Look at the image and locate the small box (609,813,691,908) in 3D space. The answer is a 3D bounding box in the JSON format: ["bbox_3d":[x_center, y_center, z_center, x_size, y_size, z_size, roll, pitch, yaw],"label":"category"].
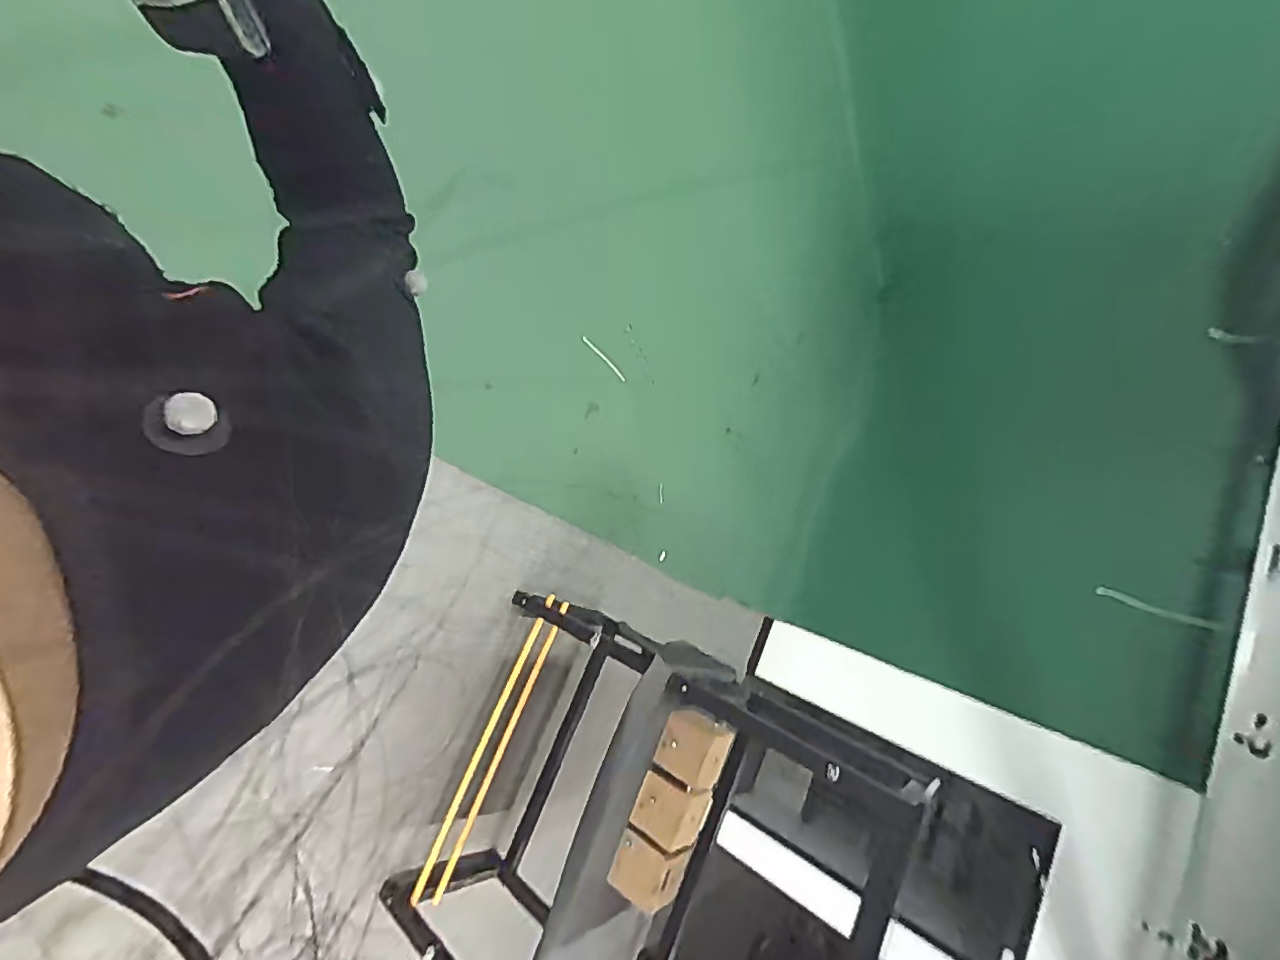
[{"bbox_3d":[0.030,1.197,1.715,0.179,0.176,0.168,33,77,-54],"label":"small box"}]

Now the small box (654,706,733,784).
[{"bbox_3d":[0.174,0.855,1.764,0.179,0.176,0.168,32,78,-54],"label":"small box"}]
